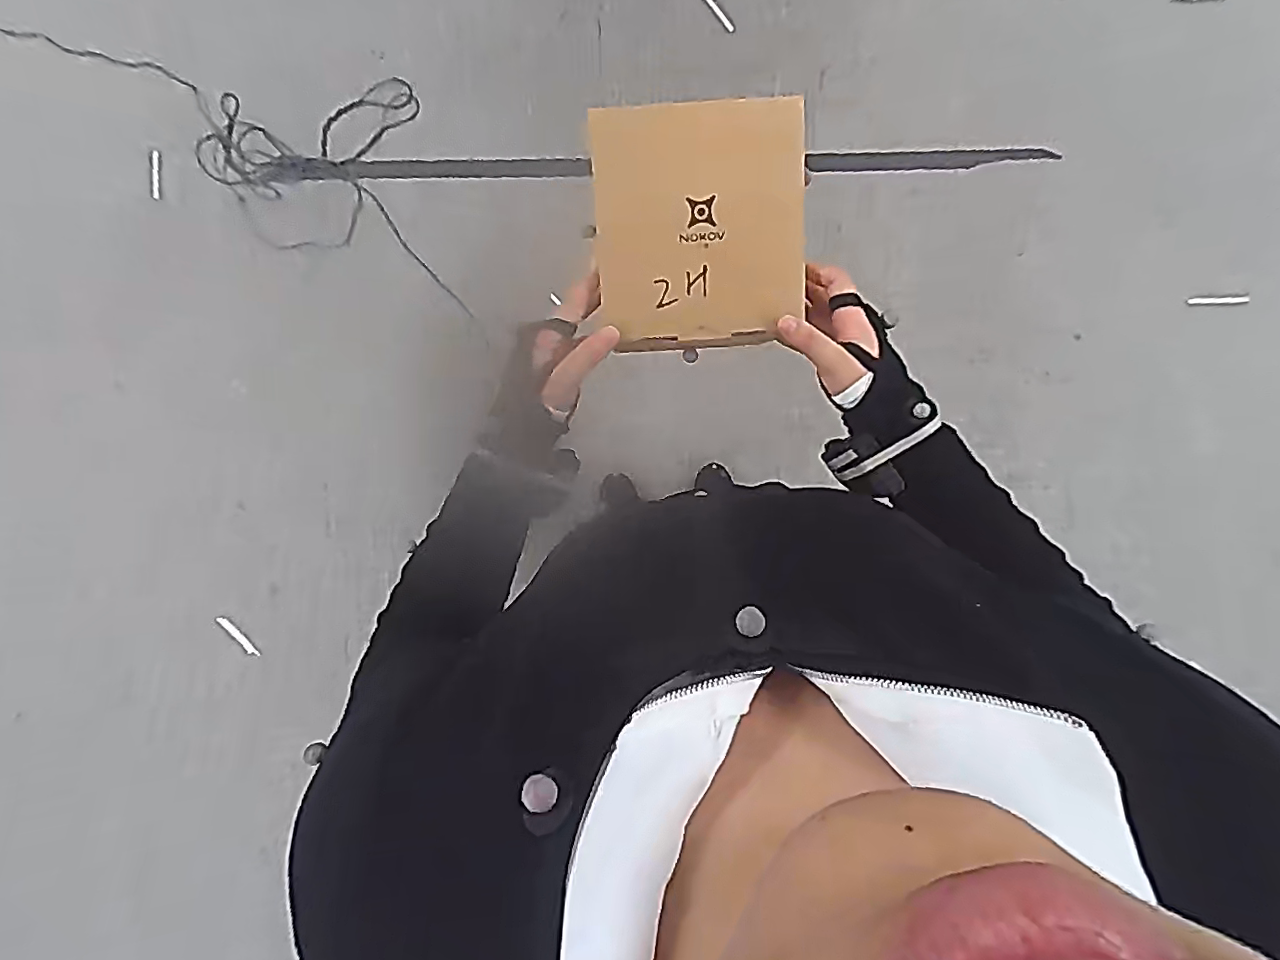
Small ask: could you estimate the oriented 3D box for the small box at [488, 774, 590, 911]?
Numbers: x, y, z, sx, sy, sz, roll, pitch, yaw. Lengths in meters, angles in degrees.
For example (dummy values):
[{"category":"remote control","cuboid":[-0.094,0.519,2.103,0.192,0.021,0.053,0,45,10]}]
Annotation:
[{"category":"small box","cuboid":[-0.195,0.715,1.083,0.179,0.176,0.168,1,91,1]}]
